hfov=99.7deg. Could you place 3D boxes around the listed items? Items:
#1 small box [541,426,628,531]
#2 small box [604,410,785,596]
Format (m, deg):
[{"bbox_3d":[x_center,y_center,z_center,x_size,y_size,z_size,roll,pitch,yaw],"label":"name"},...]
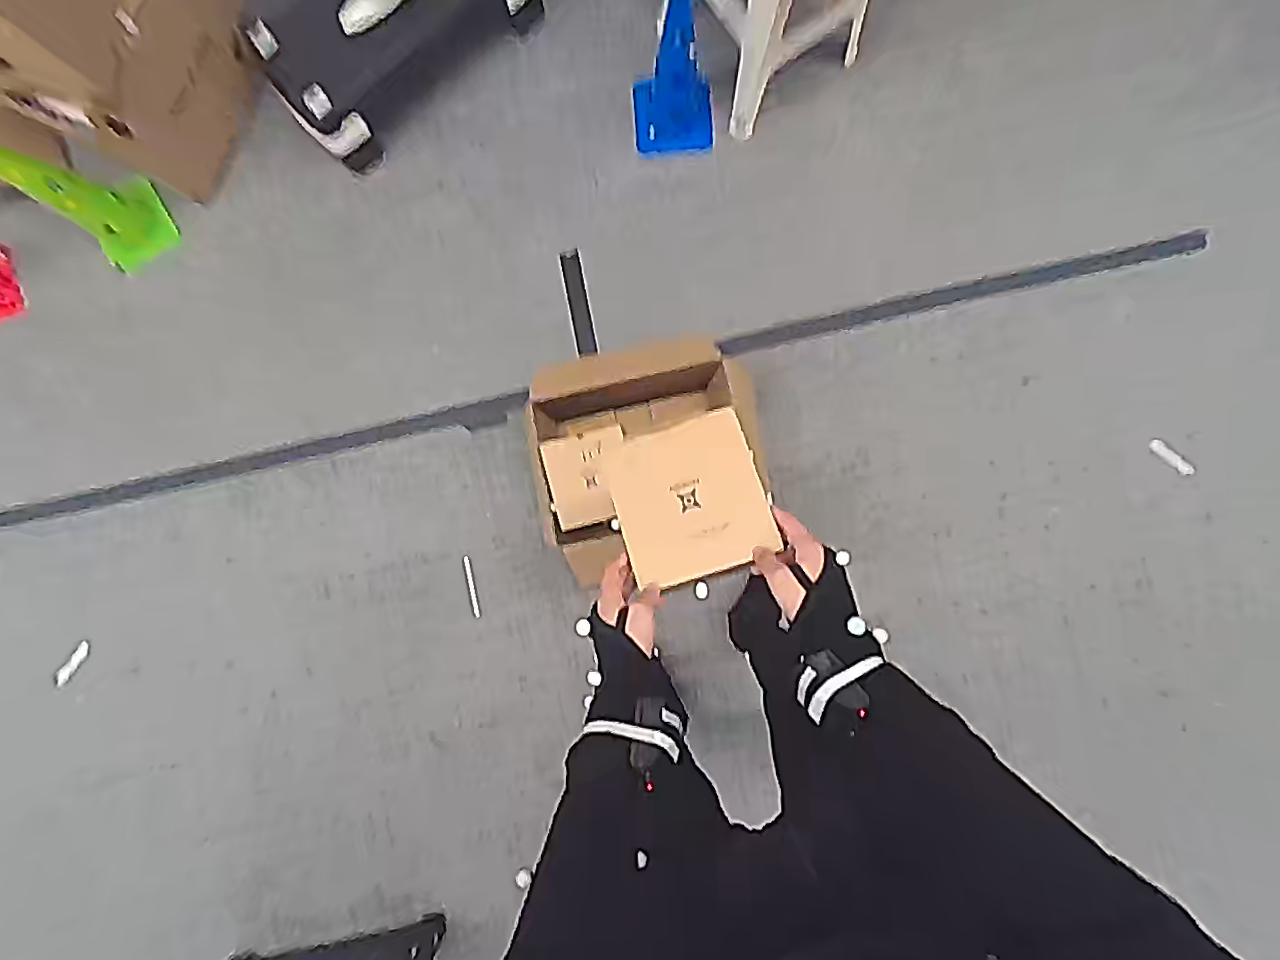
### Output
[{"bbox_3d":[-0.092,-0.004,1.122,0.168,0.176,0.179,-14,90,1],"label":"small box"},{"bbox_3d":[0.066,0.040,0.683,0.168,0.176,0.179,-18,75,3],"label":"small box"}]
